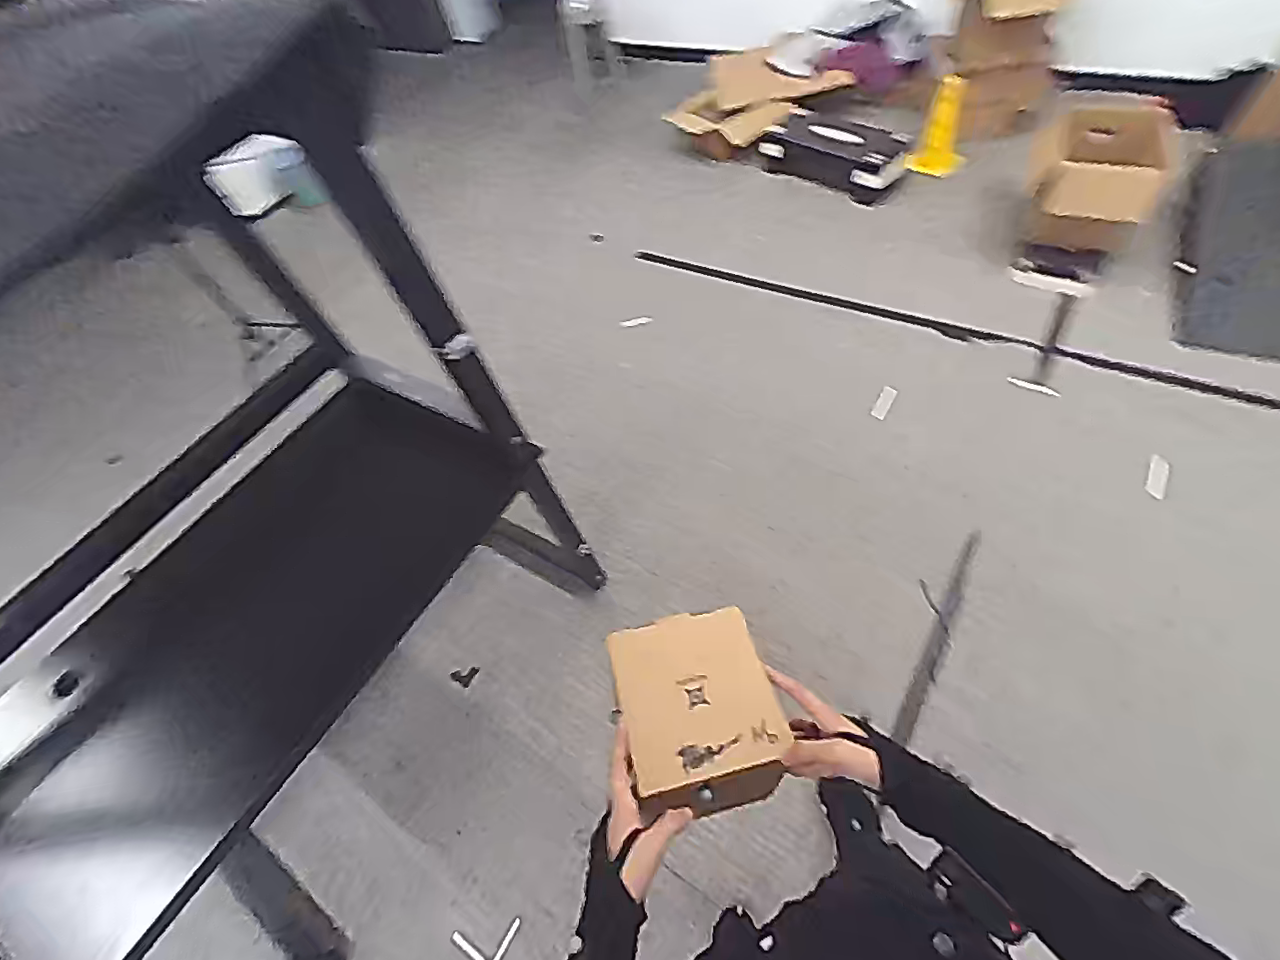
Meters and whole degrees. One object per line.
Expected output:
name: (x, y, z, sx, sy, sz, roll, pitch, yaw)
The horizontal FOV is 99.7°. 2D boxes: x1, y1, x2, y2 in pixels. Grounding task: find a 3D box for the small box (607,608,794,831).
small box: (0.057, 0.282, 0.638, 0.168, 0.176, 0.179, -10, 48, -8)
